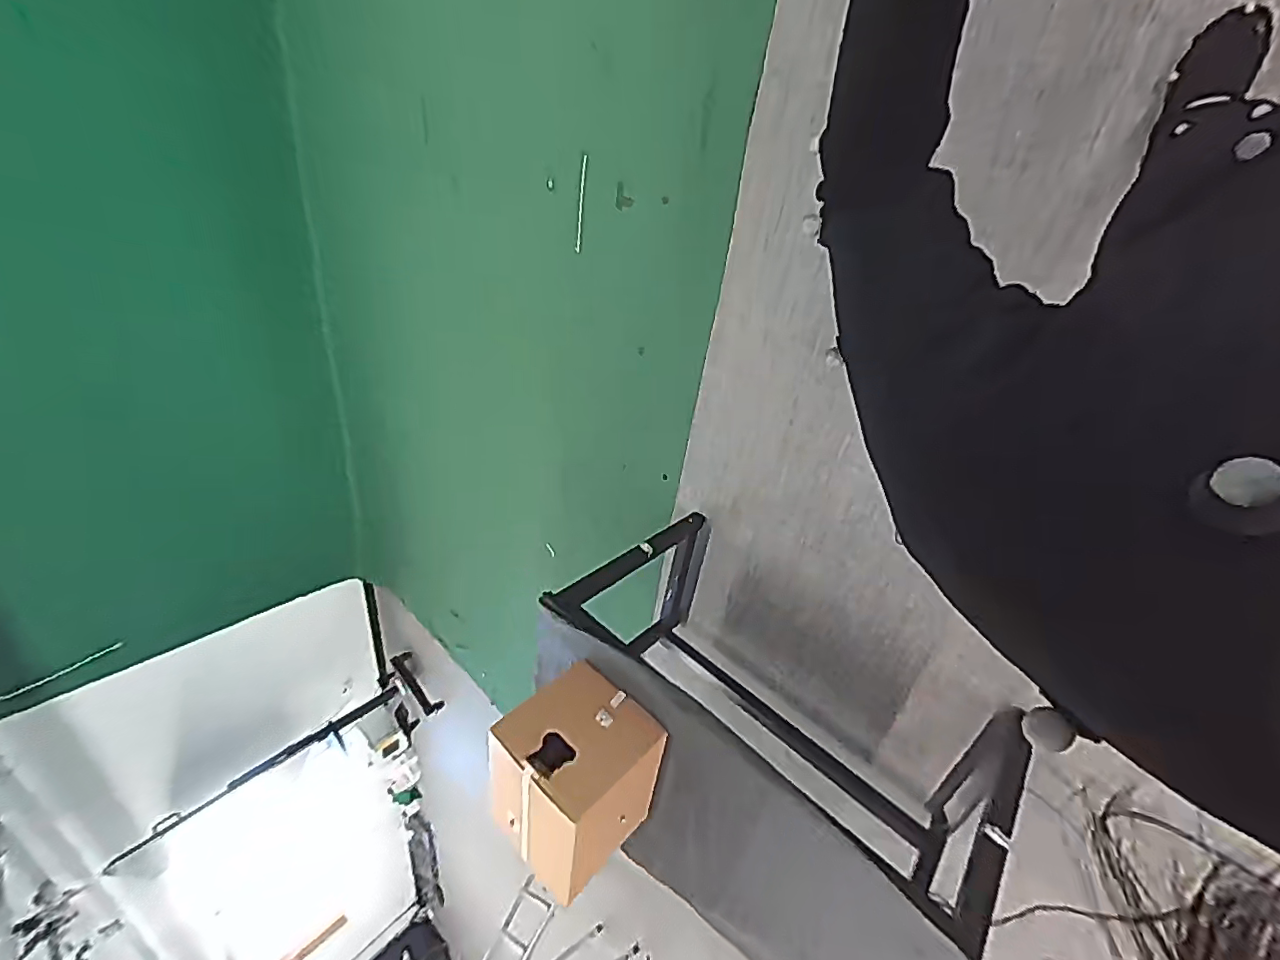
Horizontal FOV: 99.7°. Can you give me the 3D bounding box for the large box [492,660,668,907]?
[{"bbox_3d":[-0.156,0.760,1.392,0.320,0.320,0.408,30,127,32],"label":"large box"}]
